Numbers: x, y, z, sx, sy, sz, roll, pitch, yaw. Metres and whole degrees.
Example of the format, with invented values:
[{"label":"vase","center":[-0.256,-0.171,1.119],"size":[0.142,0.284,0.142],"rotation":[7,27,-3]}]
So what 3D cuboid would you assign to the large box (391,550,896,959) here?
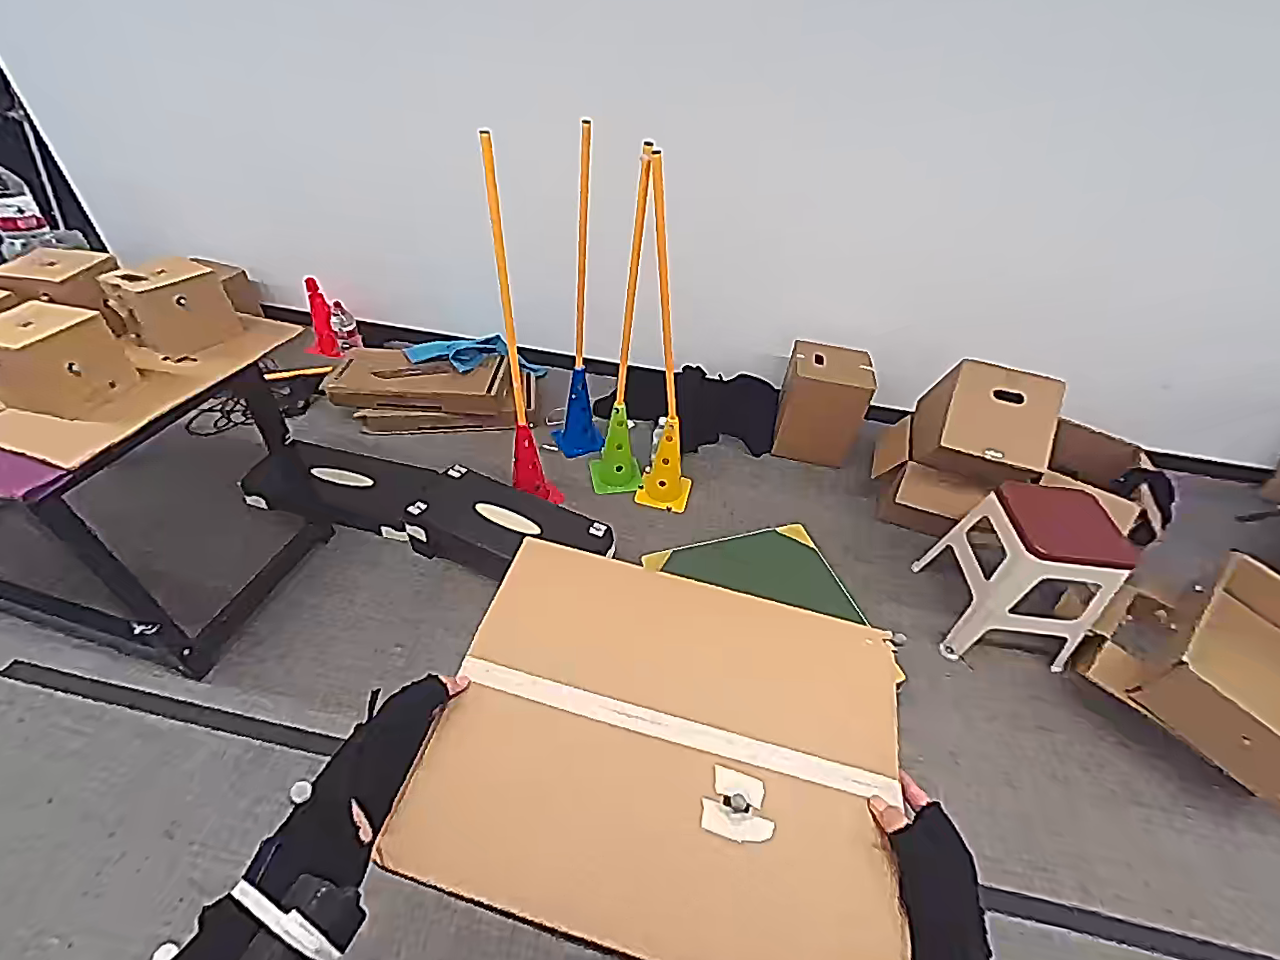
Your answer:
[{"label":"large box","center":[0.016,0.330,0.612],"size":[0.408,0.320,0.320],"rotation":[14,50,7]}]
